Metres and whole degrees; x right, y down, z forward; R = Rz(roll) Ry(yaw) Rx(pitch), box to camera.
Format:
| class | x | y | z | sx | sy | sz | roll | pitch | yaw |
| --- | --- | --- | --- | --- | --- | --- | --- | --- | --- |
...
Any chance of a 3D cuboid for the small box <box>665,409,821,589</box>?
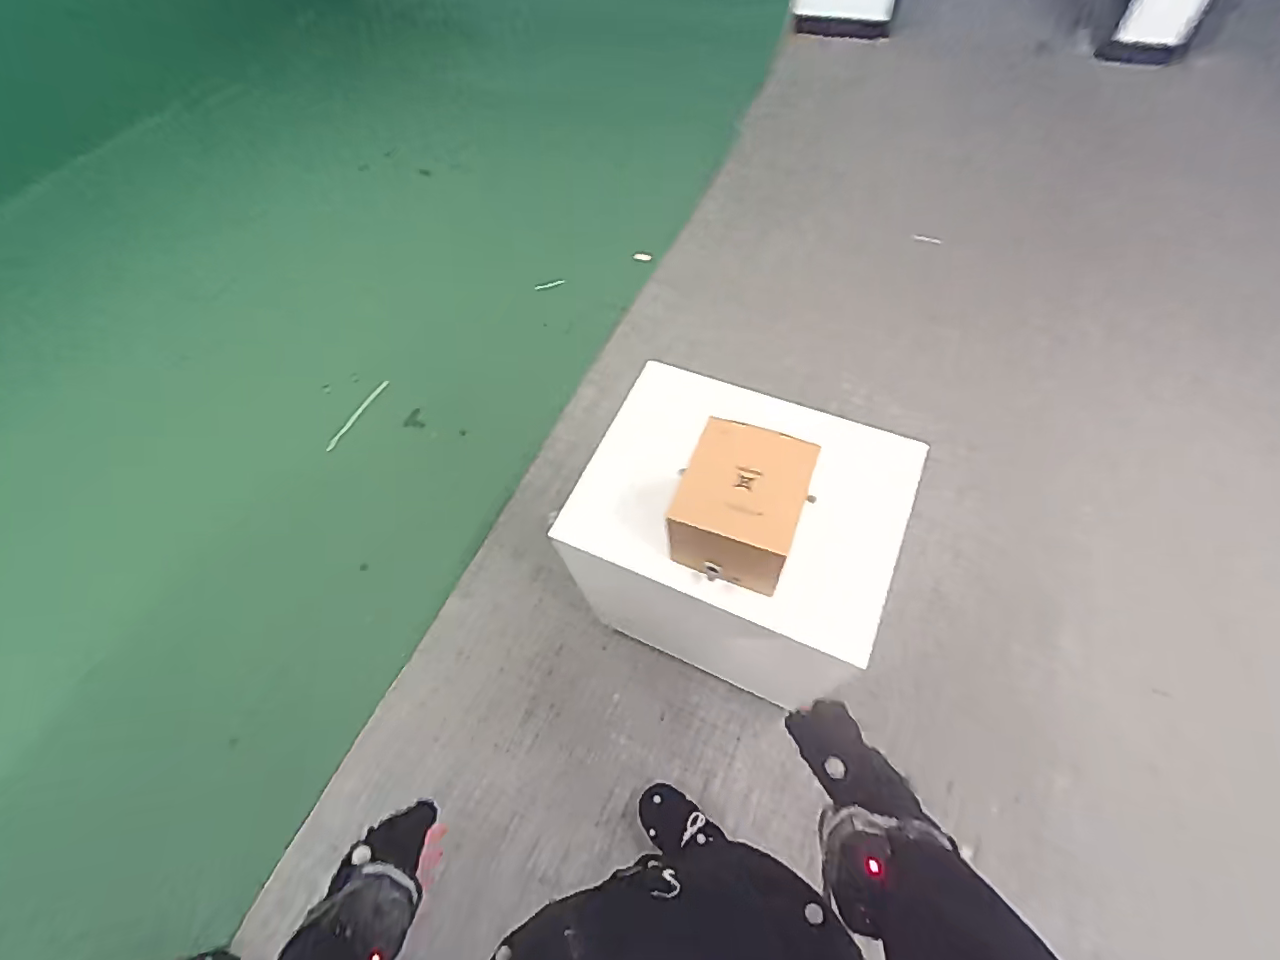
| class | x | y | z | sx | sy | sz | roll | pitch | yaw |
| --- | --- | --- | --- | --- | --- | --- | --- | --- | --- |
| small box | 0.145 | 0.032 | 0.775 | 0.168 | 0.176 | 0.179 | 16 | 66 | 17 |
